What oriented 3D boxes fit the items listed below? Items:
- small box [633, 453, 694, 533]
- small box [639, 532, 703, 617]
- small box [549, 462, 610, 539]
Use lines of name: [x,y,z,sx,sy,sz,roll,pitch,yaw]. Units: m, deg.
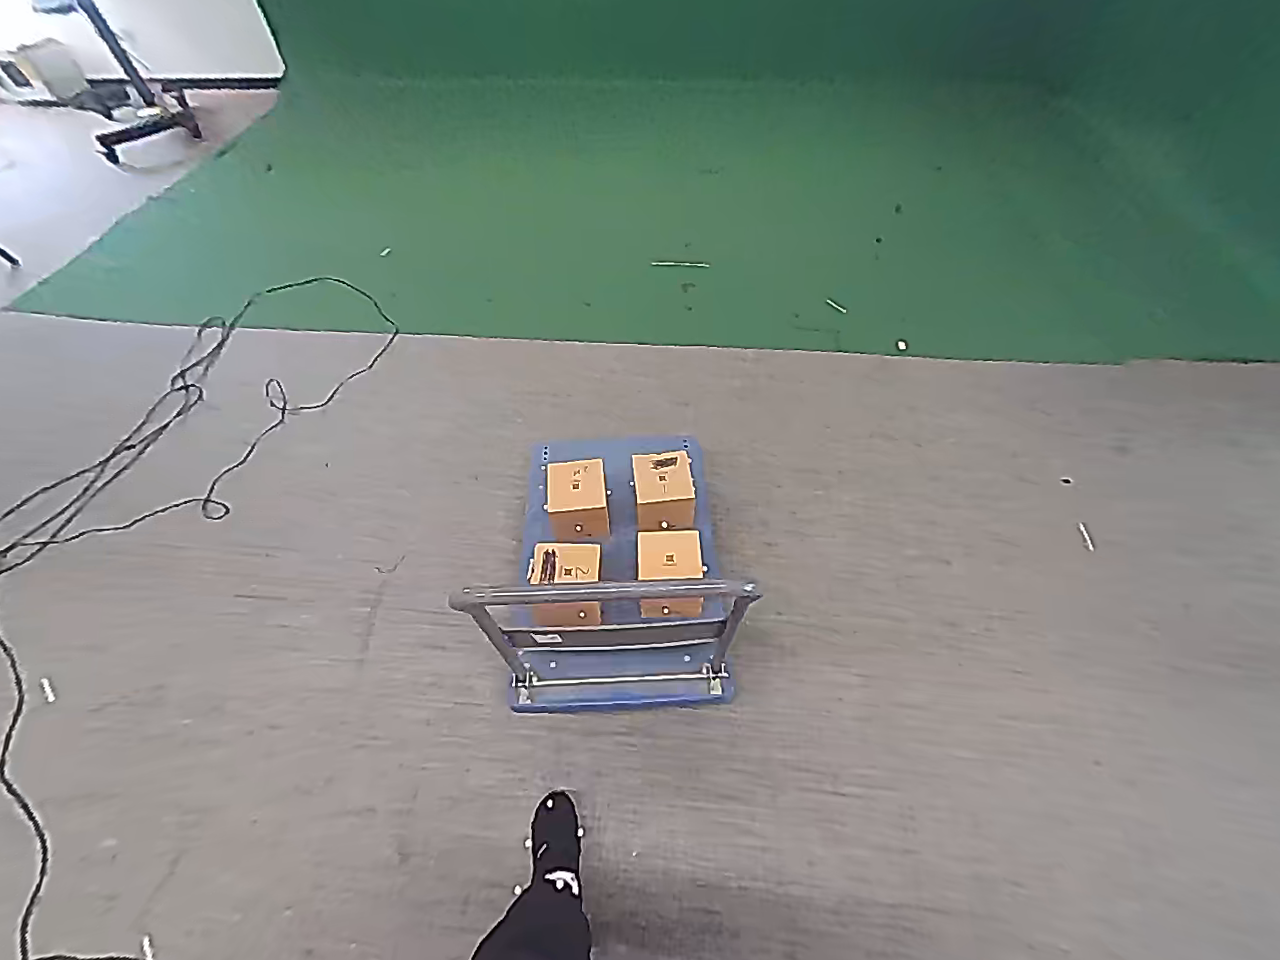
small box: [0.068,0.042,1.646,0.168,0.176,0.179,-6,54,-1]
small box: [0.080,0.261,1.486,0.168,0.176,0.179,-2,54,0]
small box: [-0.182,0.068,1.634,0.168,0.176,0.179,-5,54,-3]
